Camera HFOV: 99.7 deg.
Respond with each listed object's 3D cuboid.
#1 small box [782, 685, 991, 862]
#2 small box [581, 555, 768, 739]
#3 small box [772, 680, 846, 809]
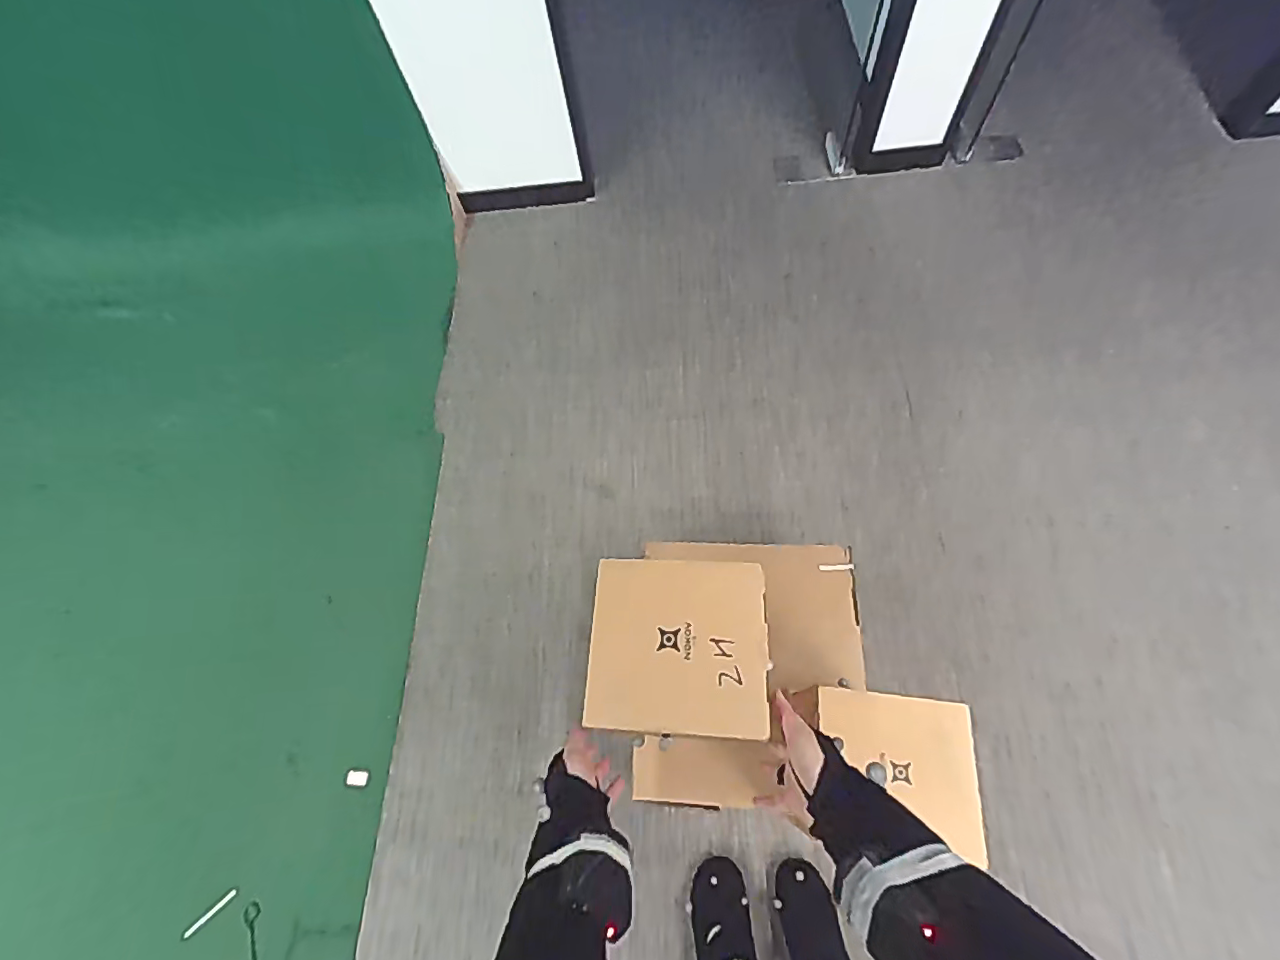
[{"bbox_3d":[0.288,0.358,0.675,0.179,0.176,0.168,4,62,1],"label":"small box"},{"bbox_3d":[0.046,0.189,0.598,0.179,0.176,0.168,1,64,8],"label":"small box"},{"bbox_3d":[0.300,0.415,0.829,0.168,0.176,0.179,4,65,6],"label":"small box"}]
